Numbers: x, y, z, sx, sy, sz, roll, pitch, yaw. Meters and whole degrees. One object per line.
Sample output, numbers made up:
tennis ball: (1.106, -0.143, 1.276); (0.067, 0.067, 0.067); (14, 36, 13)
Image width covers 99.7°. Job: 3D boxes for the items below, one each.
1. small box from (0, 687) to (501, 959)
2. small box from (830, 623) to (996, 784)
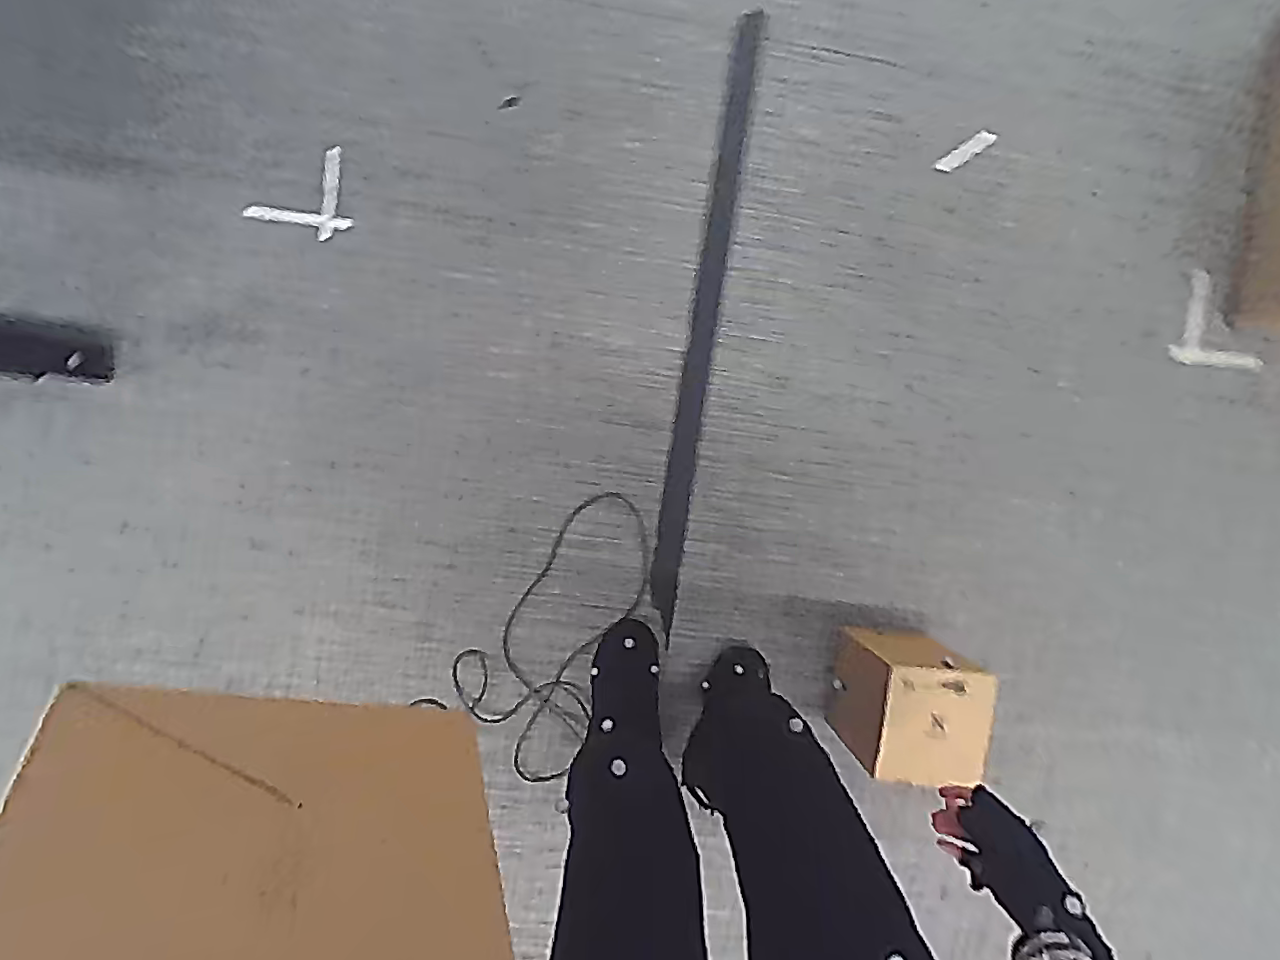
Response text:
small box: (-0.174, 0.210, 0.218); (0.179, 0.168, 0.176); (27, 108, -38)
small box: (0.423, 0.349, 0.867); (0.168, 0.176, 0.179); (6, 94, -5)
